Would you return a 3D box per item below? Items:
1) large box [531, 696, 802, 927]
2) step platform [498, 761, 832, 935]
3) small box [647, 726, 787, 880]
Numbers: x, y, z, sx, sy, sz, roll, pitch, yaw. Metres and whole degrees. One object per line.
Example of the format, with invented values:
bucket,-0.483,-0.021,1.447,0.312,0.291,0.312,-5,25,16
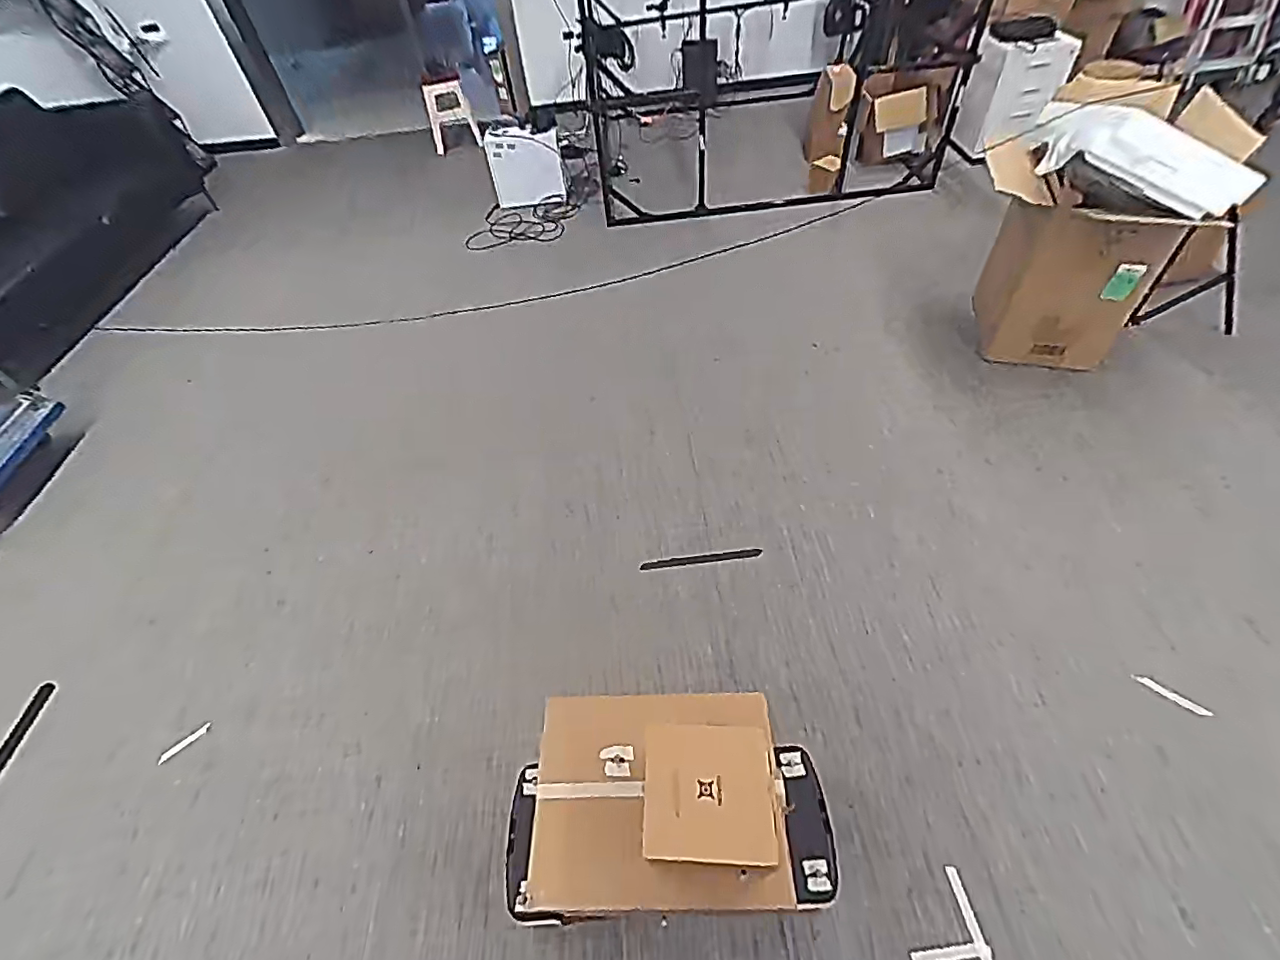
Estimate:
large box,0.049,0.615,0.991,0.408,0.320,0.320,-4,48,4
step platform,0.050,0.781,1.164,0.684,0.204,0.286,-2,49,6
small box,0.107,0.470,0.784,0.179,0.176,0.168,-1,50,6
